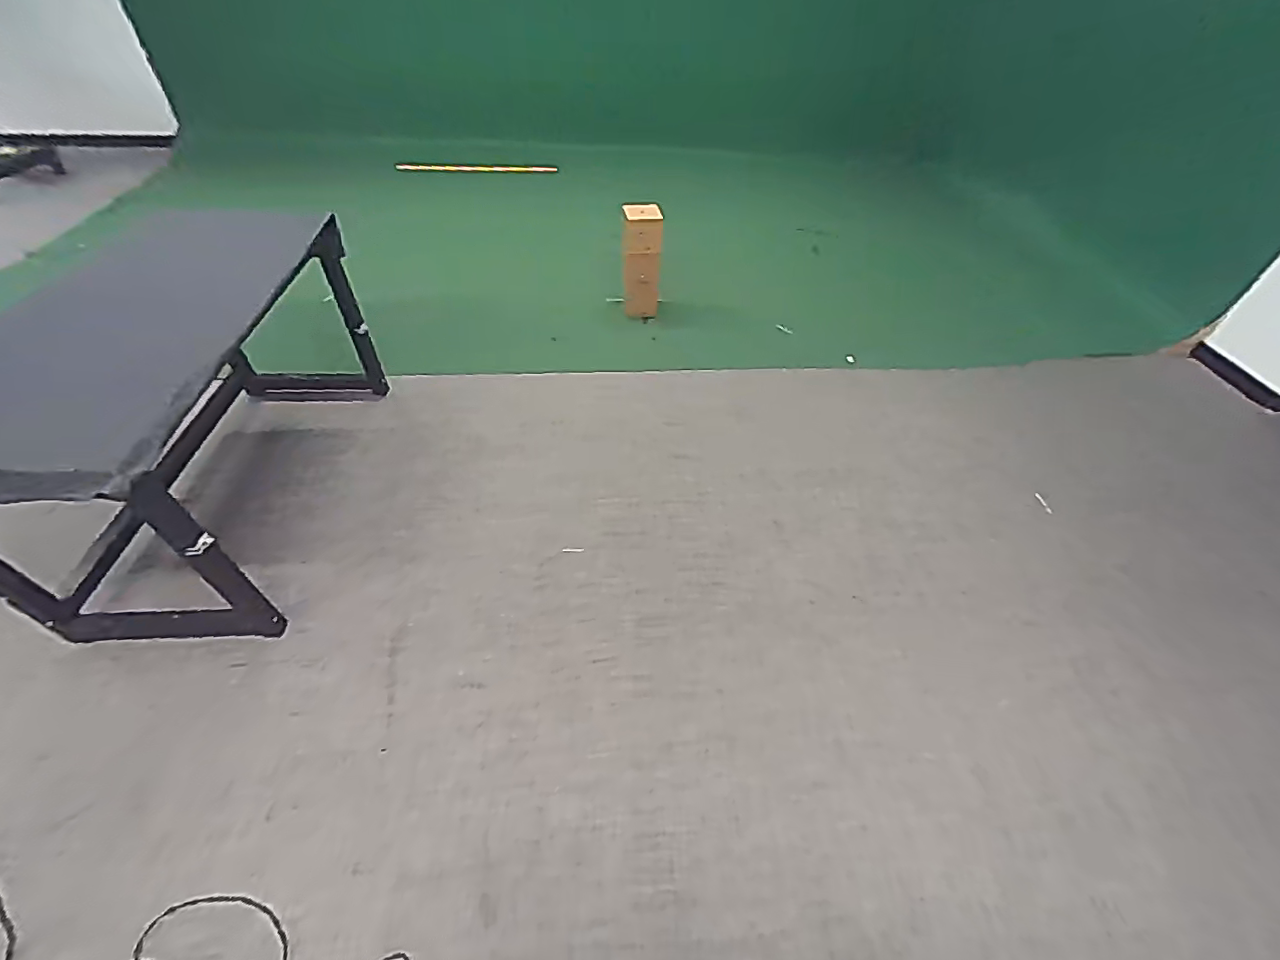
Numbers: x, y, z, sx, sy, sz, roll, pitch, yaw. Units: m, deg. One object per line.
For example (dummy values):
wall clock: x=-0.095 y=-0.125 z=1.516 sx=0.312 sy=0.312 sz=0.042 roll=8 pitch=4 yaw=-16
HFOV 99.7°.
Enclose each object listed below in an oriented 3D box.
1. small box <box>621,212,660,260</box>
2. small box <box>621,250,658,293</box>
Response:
small box: x=0.002 y=-1.176 z=2.618 sx=0.168 sy=0.176 sz=0.179 roll=-6 pitch=46 yaw=-8
small box: x=-0.005 y=-1.066 z=2.737 sx=0.168 sy=0.176 sz=0.179 roll=-4 pitch=46 yaw=-6
